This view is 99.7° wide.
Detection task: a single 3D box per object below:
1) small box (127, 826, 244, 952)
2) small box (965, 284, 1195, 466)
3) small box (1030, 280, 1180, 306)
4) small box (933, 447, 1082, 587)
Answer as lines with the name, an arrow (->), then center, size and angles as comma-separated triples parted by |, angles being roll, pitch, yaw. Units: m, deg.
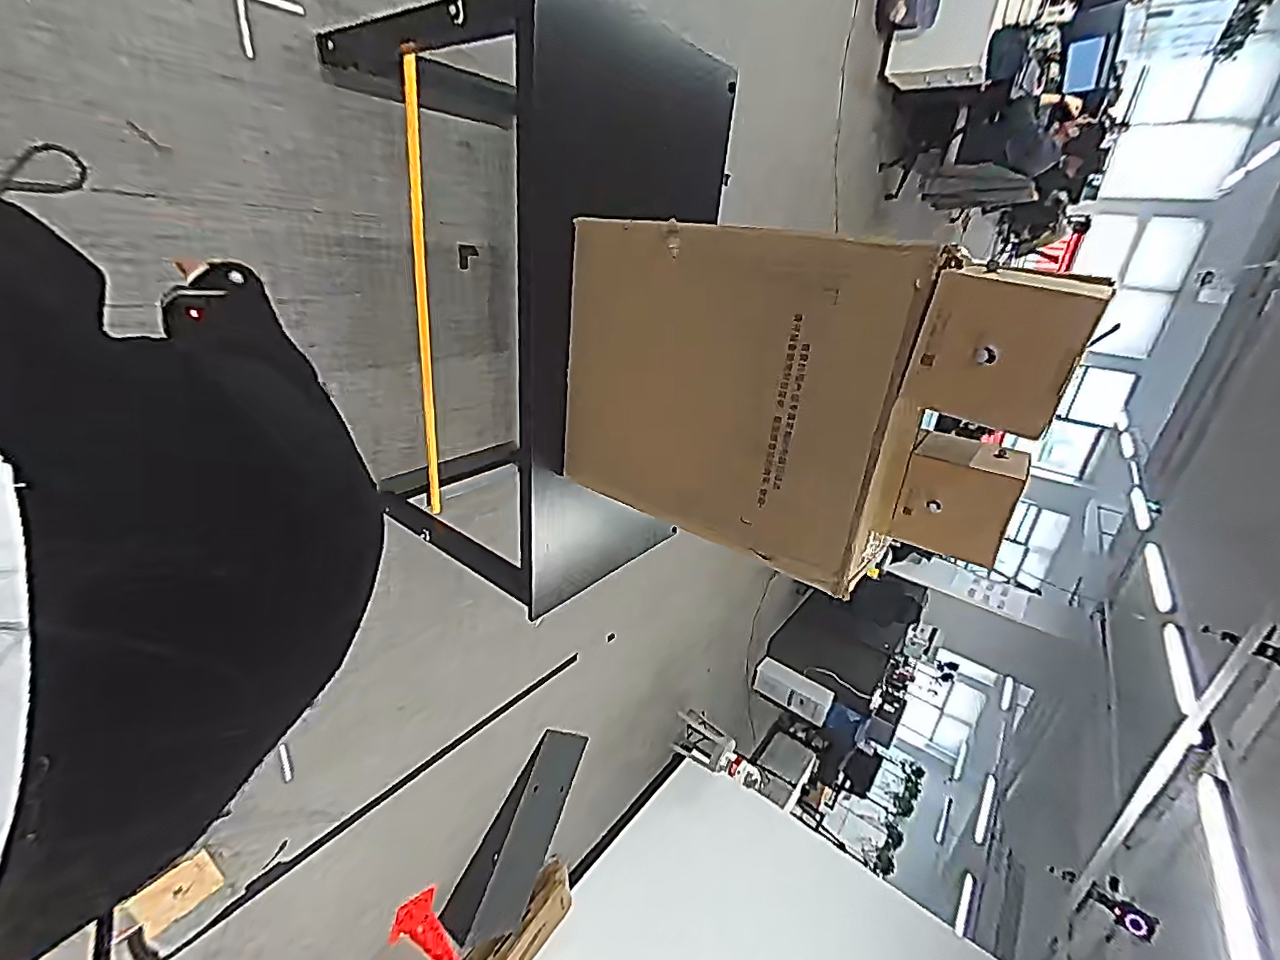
small box -> -1.185, 1.058, 1.413 | 0.168, 0.176, 0.179 | -32, 132, -45
small box -> 0.535, -0.141, 0.675 | 0.179, 0.176, 0.168 | -26, 133, -43
small box -> 0.660, -0.204, 0.826 | 0.168, 0.176, 0.179 | -23, 129, -50
small box -> 0.638, 0.054, 0.951 | 0.179, 0.176, 0.168 | -27, 129, -49
